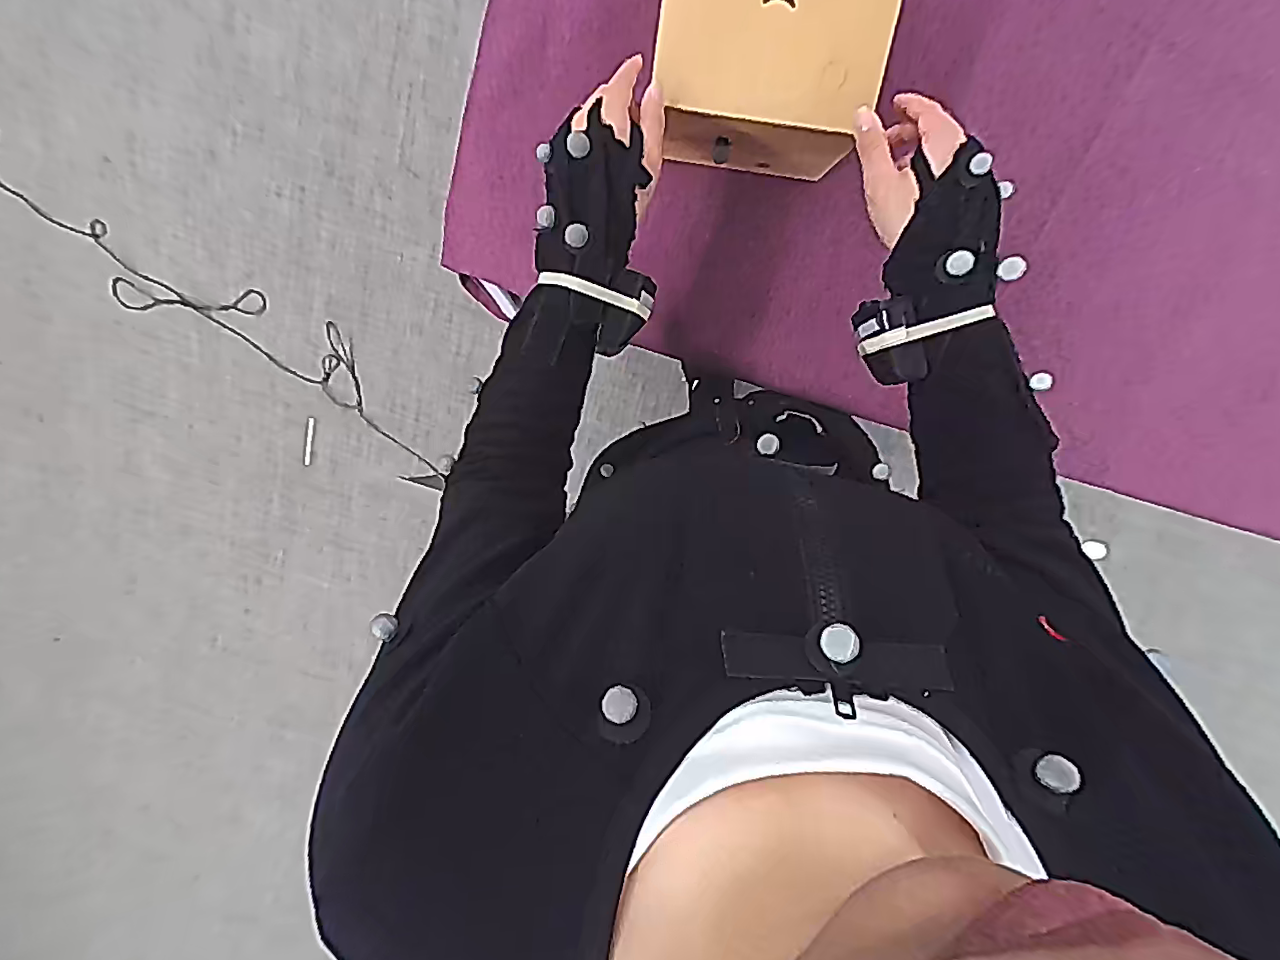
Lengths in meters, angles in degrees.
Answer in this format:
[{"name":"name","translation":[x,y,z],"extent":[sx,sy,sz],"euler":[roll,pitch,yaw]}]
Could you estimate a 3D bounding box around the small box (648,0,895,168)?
[{"name":"small box","translation":[0.105,-0.377,0.445],"extent":[0.168,0.176,0.179],"euler":[9,108,3]}]
